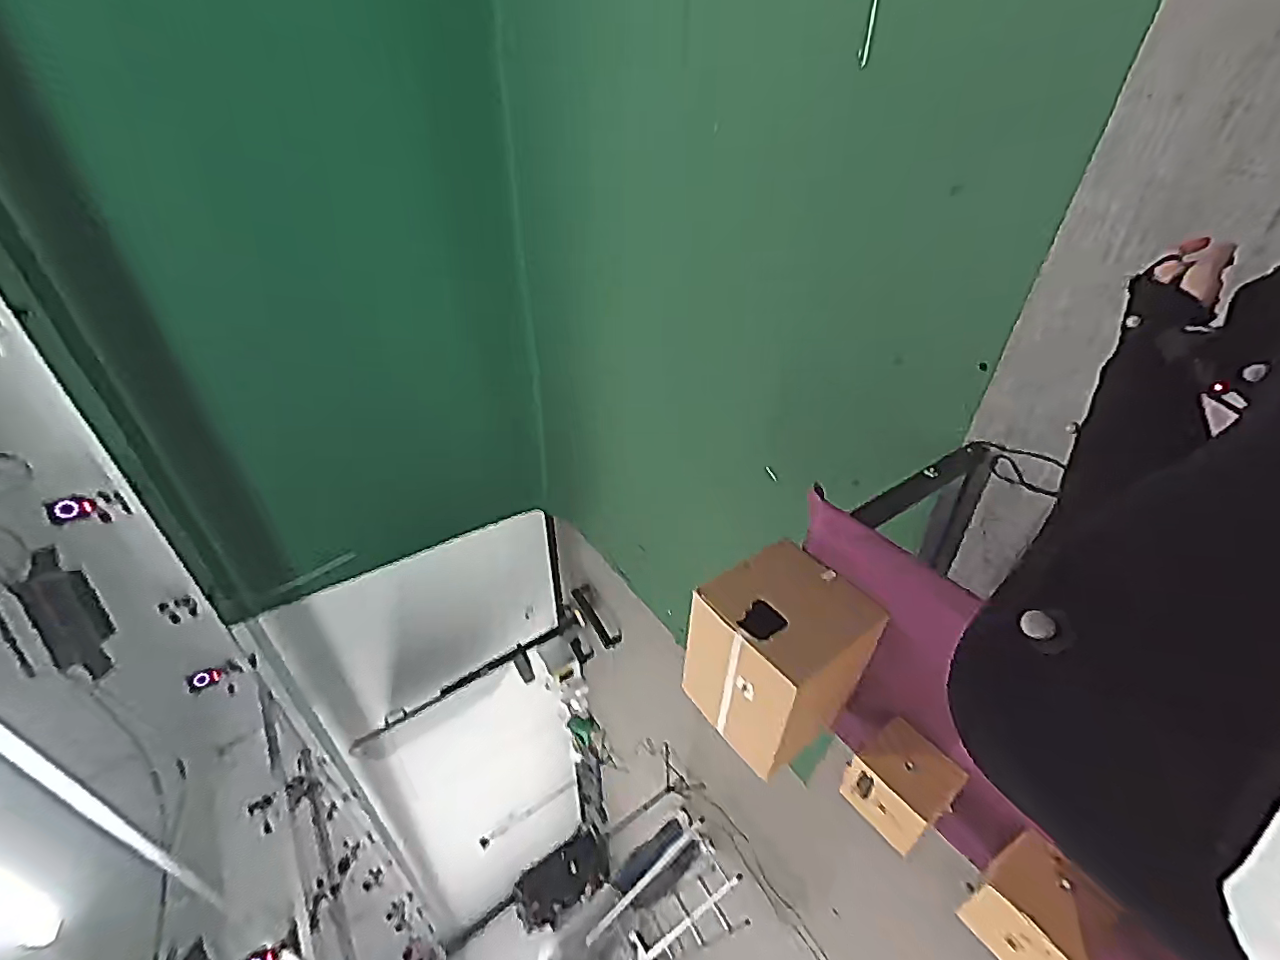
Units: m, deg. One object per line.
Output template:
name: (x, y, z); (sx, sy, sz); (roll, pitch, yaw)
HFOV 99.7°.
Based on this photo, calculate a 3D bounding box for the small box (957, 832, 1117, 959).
small box: (0.754, 0.826, 1.031); (0.168, 0.176, 0.179); (39, 140, 40)

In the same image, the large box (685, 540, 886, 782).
large box: (0.334, 0.430, 1.326); (0.320, 0.320, 0.408); (39, 139, 39)
